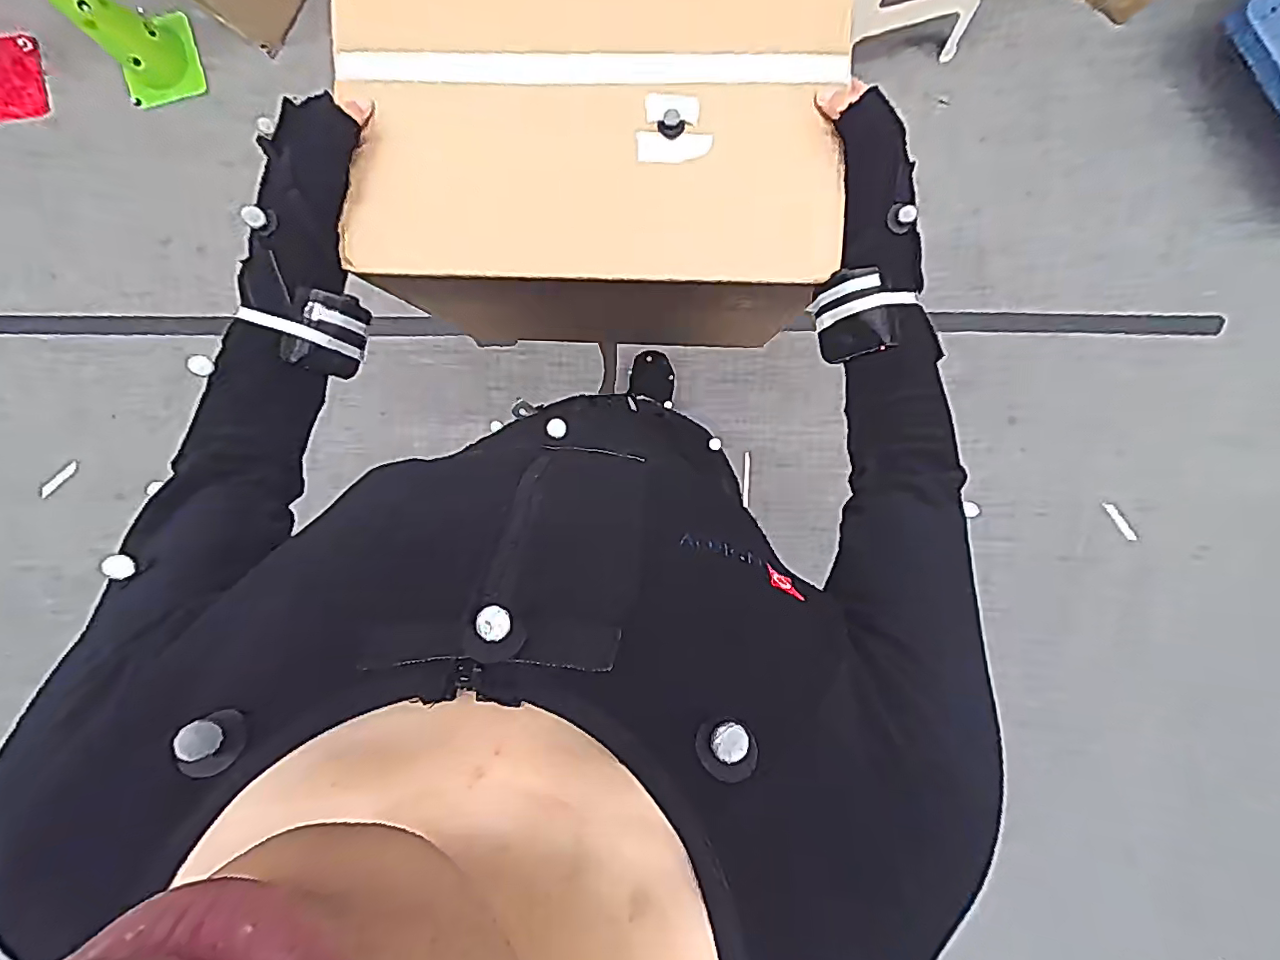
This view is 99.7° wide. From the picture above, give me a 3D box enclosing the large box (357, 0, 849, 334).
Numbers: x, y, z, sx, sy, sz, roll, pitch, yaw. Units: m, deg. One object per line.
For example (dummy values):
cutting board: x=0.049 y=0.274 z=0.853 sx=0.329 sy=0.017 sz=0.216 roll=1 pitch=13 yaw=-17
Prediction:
large box: x=-0.031 y=-0.344 z=0.586 sx=0.408 sy=0.320 sz=0.320 roll=2 pitch=95 yaw=1
